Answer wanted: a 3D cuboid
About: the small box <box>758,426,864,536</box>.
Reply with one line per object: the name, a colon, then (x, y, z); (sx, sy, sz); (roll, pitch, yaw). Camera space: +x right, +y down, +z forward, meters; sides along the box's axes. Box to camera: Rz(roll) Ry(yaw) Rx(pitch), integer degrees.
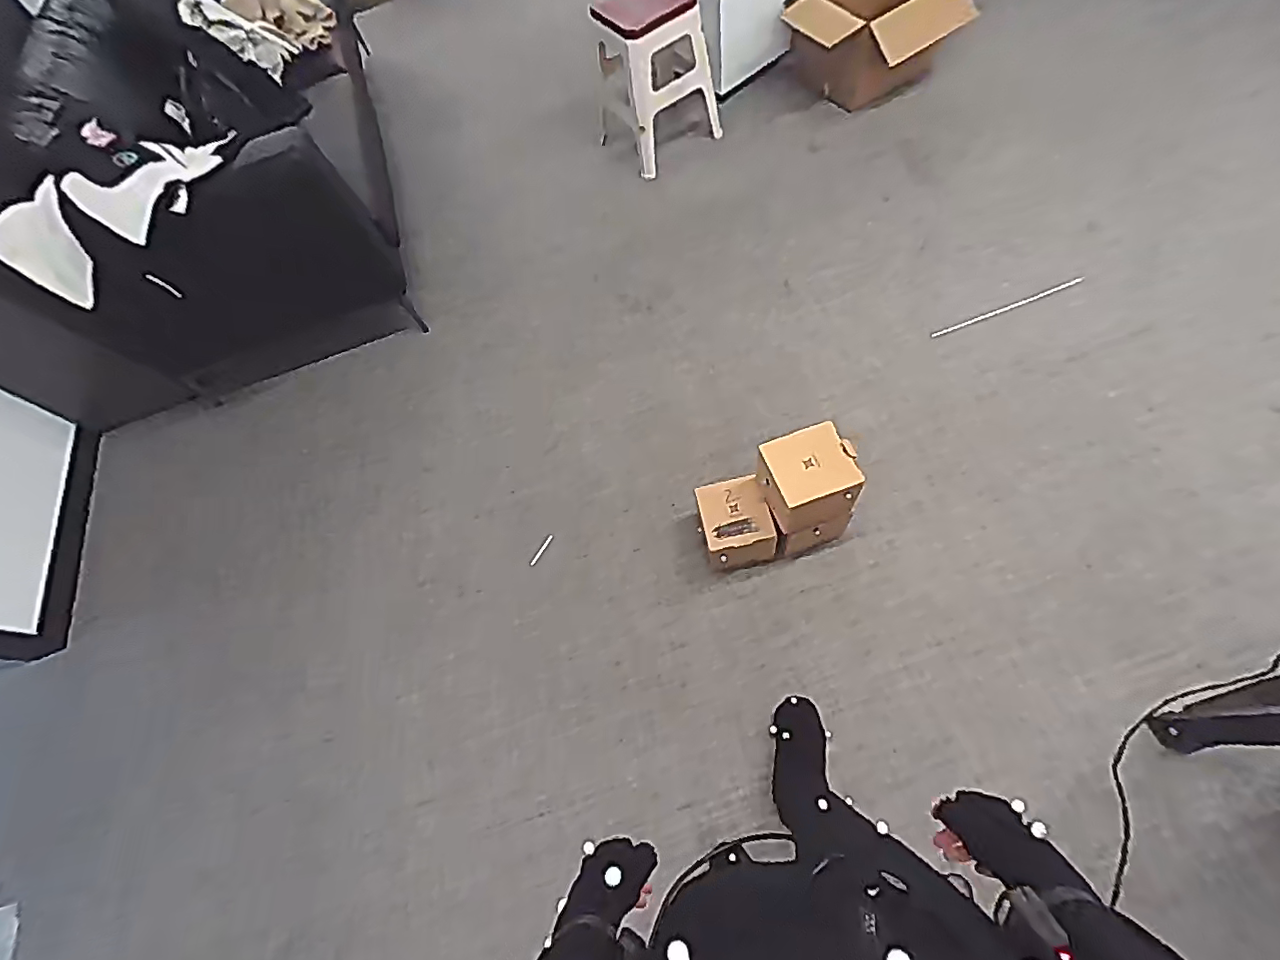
small box: (0.383, 0.010, 1.245); (0.179, 0.176, 0.168); (-20, 62, -1)
